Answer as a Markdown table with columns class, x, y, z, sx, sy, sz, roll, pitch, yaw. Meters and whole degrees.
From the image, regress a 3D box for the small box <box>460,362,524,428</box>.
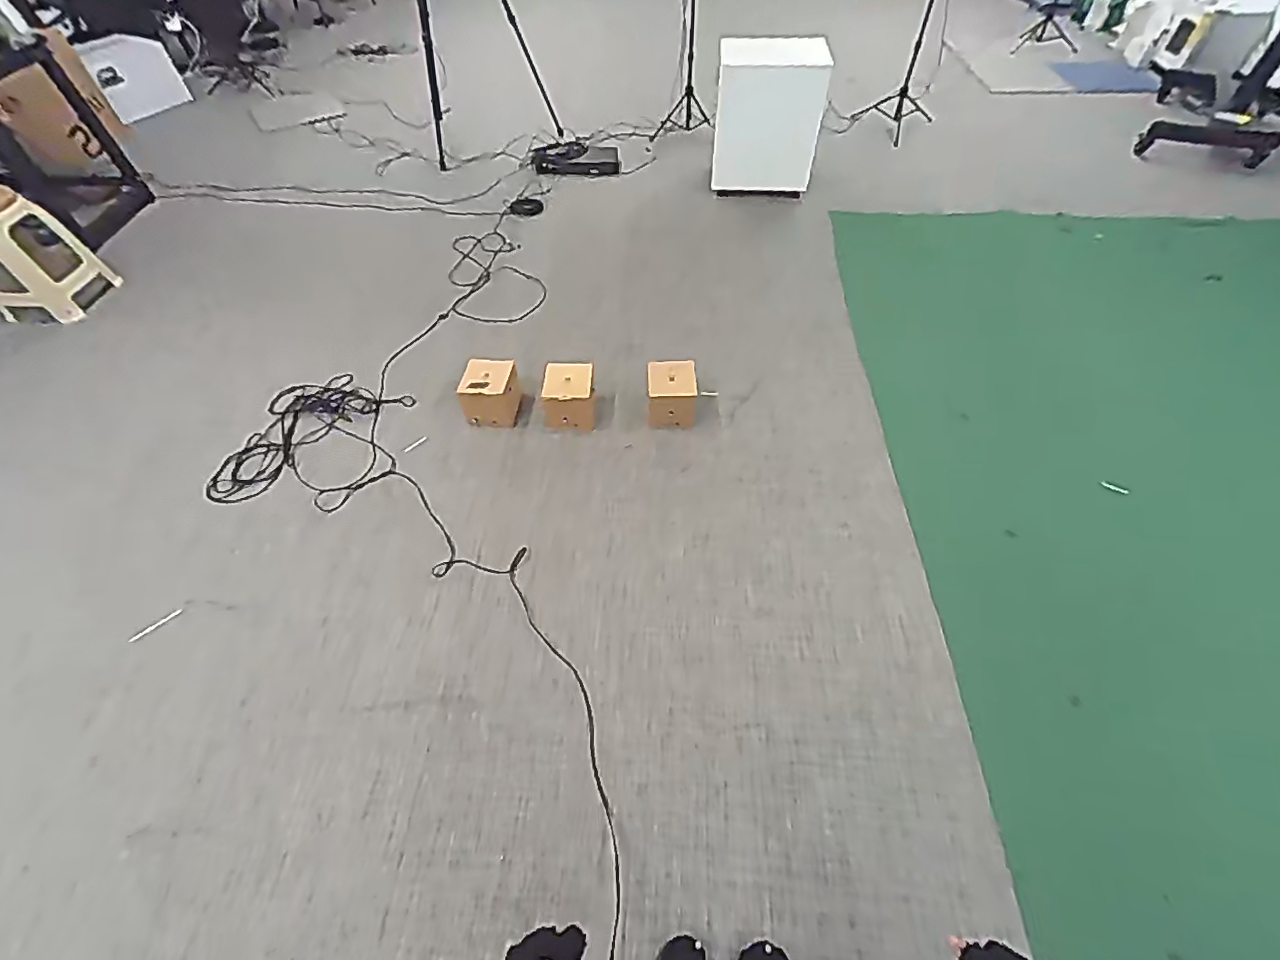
| class | x | y | z | sx | sy | sz | roll | pitch | yaw |
| --- | --- | --- | --- | --- | --- | --- | --- | --- | --- |
| small box | -0.532 | -0.307 | 1.978 | 0.168 | 0.176 | 0.179 | 4 | 52 | 5 |

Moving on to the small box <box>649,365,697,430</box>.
| class | x | y | z | sx | sy | sz | roll | pitch | yaw |
| --- | --- | --- | --- | --- | --- | --- | --- | --- | --- |
| small box | 0.118 | -0.294 | 1.950 | 0.168 | 0.176 | 0.179 | -1 | 53 | 0 |

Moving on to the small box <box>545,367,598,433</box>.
| class | x | y | z | sx | sy | sz | roll | pitch | yaw |
| --- | --- | --- | --- | --- | --- | --- | --- | --- | --- |
| small box | -0.242 | -0.291 | 1.959 | 0.168 | 0.176 | 0.179 | 0 | 54 | 2 |
